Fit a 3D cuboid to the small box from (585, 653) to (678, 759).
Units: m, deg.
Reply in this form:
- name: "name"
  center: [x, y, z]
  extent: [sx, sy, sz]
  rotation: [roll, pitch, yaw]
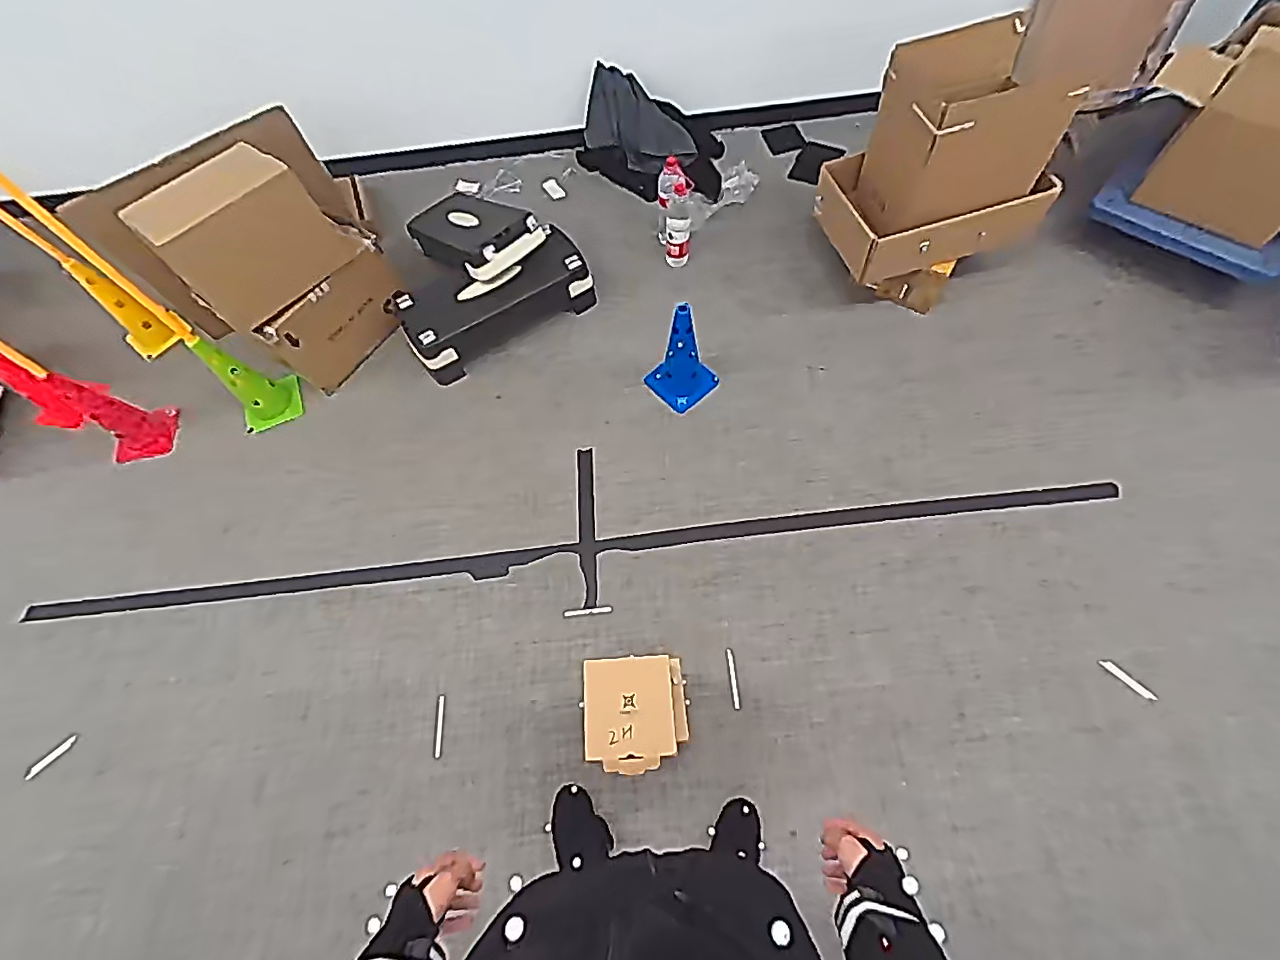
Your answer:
- name: "small box"
  center: [-0.015, 0.446, 1.060]
  extent: [0.168, 0.176, 0.179]
  rotation: [-4, 65, 2]

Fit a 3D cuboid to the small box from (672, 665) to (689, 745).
- name: "small box"
  center: [0.030, 0.576, 1.361]
  extent: [0.168, 0.176, 0.179]
  rotation: [-9, 64, 0]
